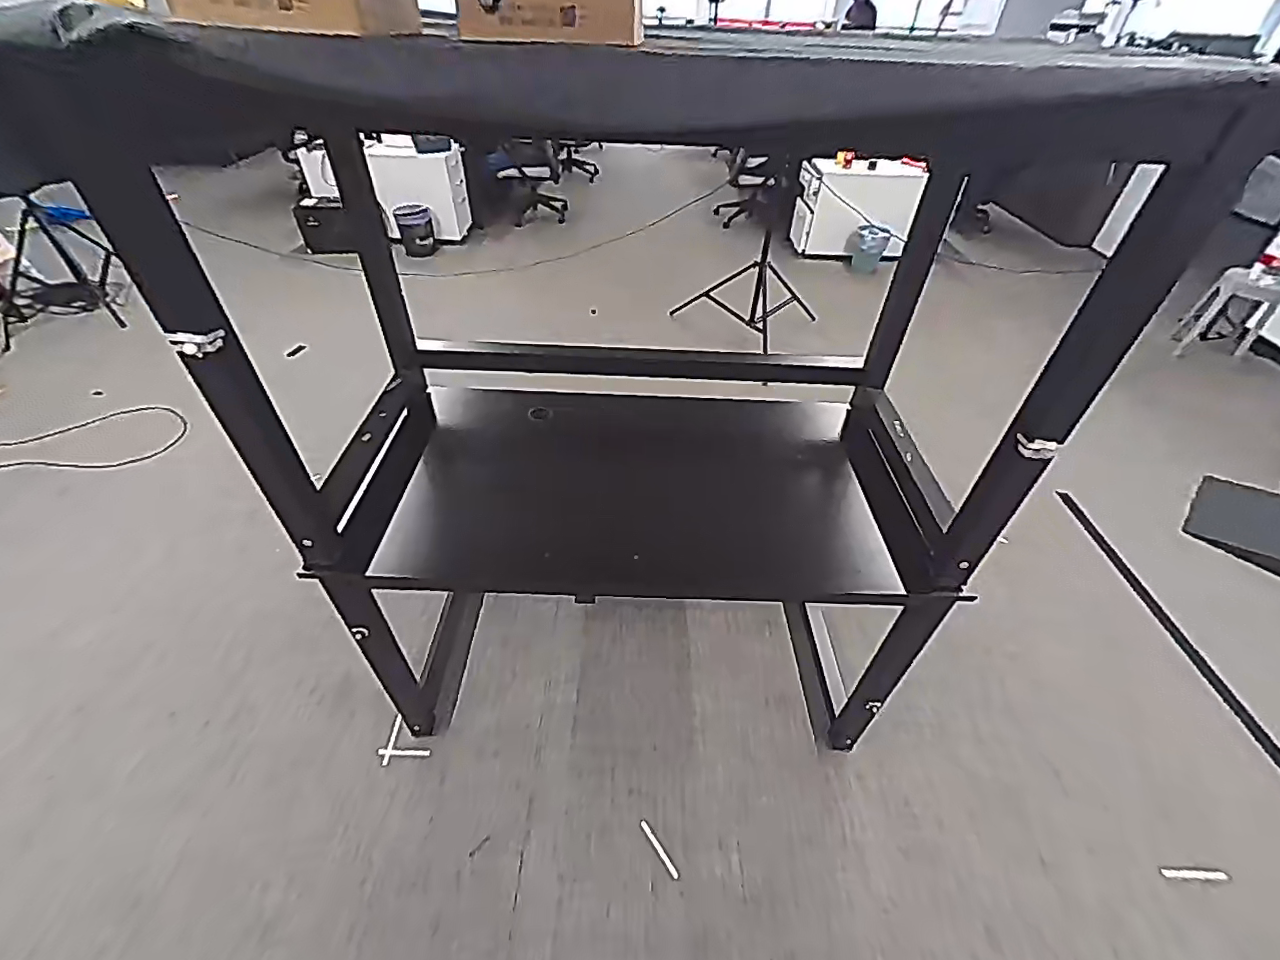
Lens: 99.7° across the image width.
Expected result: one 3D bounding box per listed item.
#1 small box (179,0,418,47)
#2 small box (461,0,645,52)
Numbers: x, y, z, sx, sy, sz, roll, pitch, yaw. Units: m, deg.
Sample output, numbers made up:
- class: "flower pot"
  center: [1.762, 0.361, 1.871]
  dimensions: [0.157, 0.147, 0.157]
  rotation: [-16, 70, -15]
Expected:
- class: "small box"
  center: [-0.321, -0.506, 0.492]
  dimensions: [0.168, 0.176, 0.179]
  rotation: [2, 40, -2]
- class: "small box"
  center: [-0.079, -0.517, 0.515]
  dimensions: [0.168, 0.176, 0.179]
  rotation: [3, 39, 1]
